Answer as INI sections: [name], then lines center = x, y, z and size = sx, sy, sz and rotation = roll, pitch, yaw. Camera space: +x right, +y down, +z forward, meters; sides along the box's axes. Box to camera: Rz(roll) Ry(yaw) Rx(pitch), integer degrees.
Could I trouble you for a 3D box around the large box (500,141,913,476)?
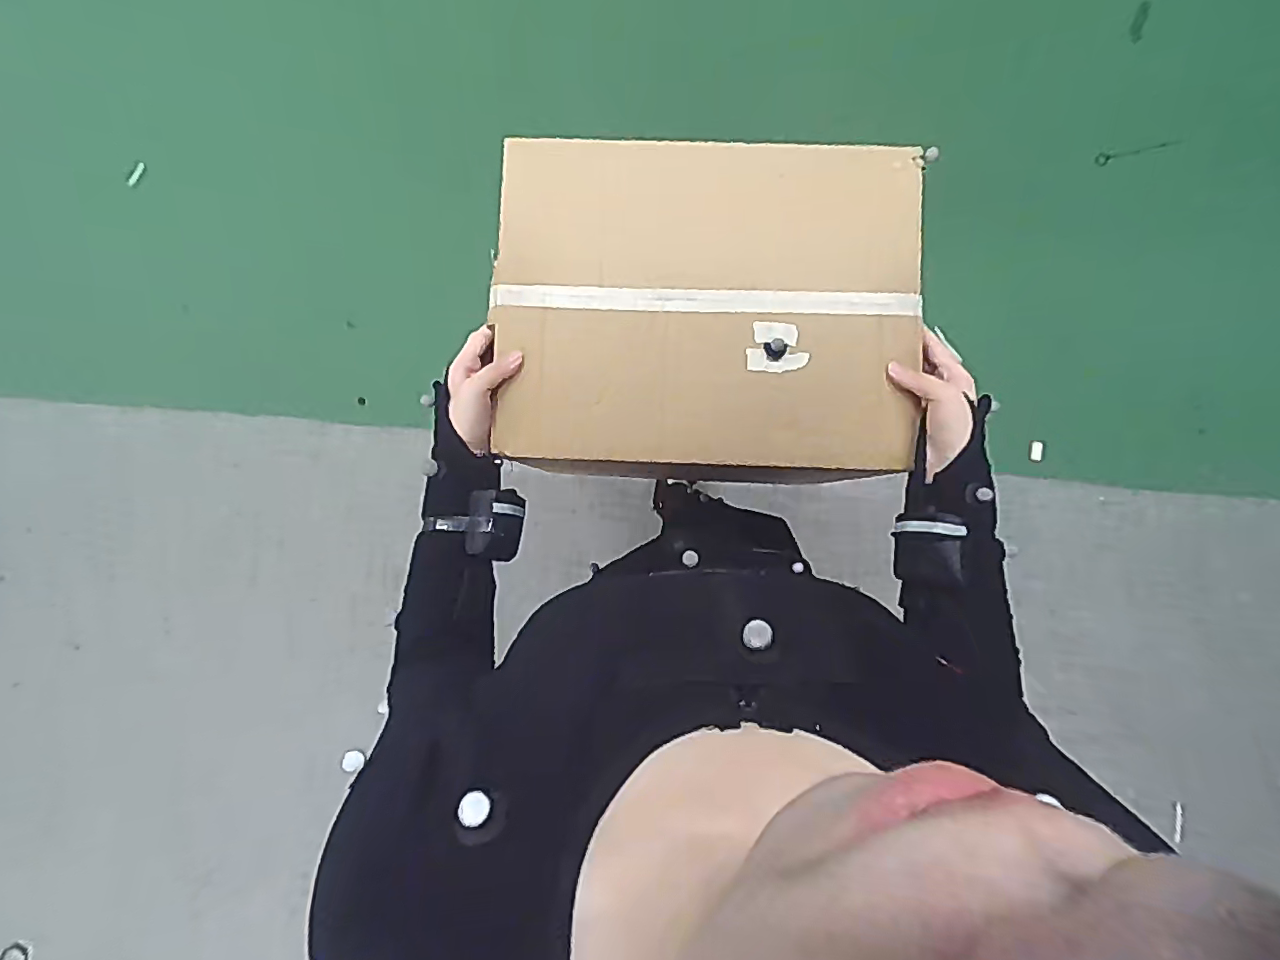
[large box]
center = 0.064, -0.170, 0.673
size = 0.408, 0.320, 0.320
rotation = 2, 87, 0
